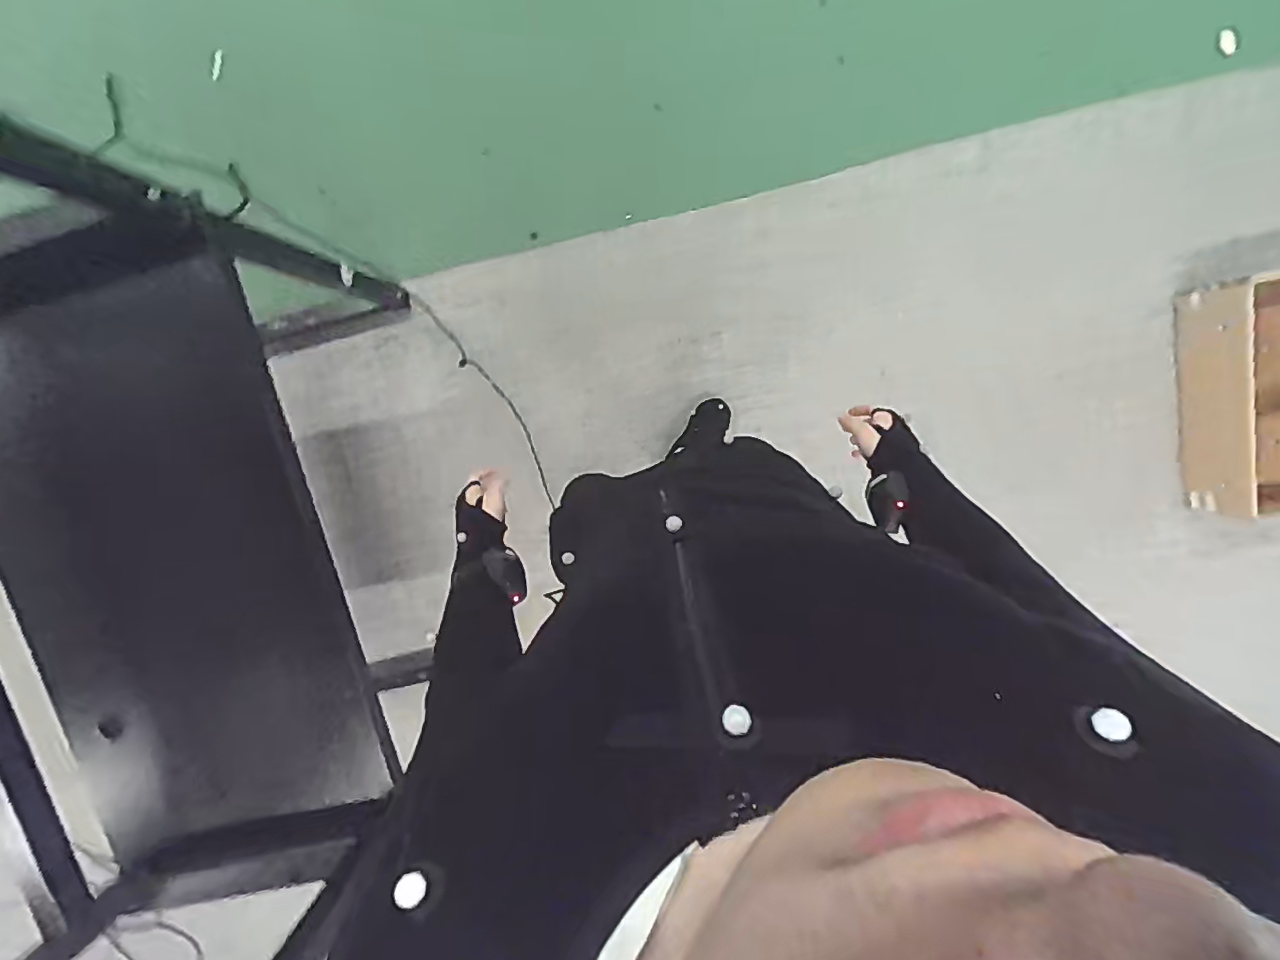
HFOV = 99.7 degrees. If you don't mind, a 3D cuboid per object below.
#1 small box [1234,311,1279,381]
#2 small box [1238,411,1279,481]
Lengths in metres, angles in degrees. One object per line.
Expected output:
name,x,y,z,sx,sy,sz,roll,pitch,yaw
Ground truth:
small box,1.658,-0.347,1.356,0.179,0.176,0.168,-12,99,5
small box,1.708,-0.092,1.392,0.179,0.176,0.168,-11,97,4
